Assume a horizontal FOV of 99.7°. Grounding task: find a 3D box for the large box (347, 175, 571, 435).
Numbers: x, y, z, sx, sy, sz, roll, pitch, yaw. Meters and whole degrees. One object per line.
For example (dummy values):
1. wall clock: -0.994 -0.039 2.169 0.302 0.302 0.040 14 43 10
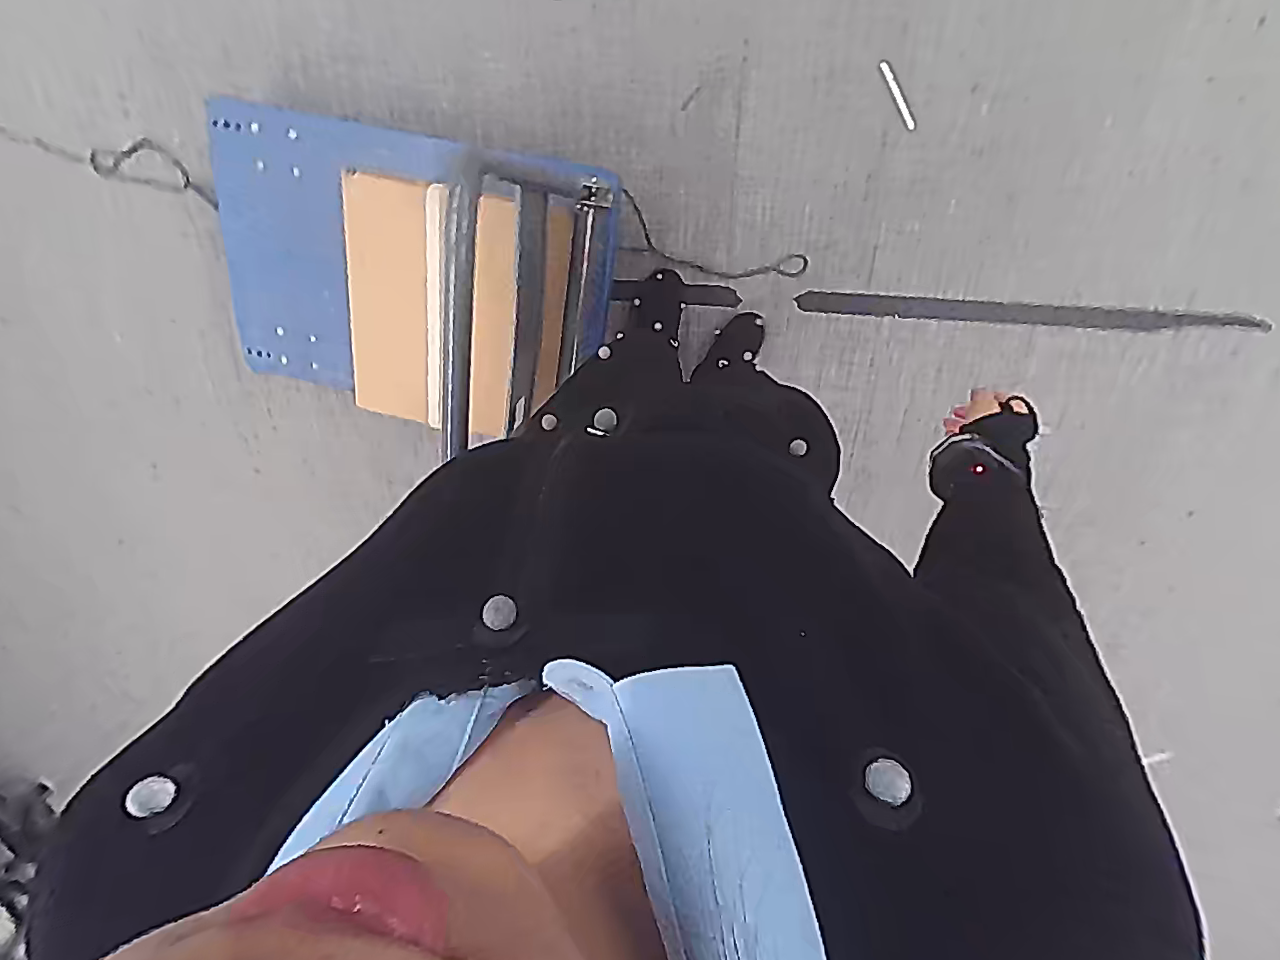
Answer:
1. large box: -0.338 -0.348 1.086 0.320 0.320 0.408 11 115 1
